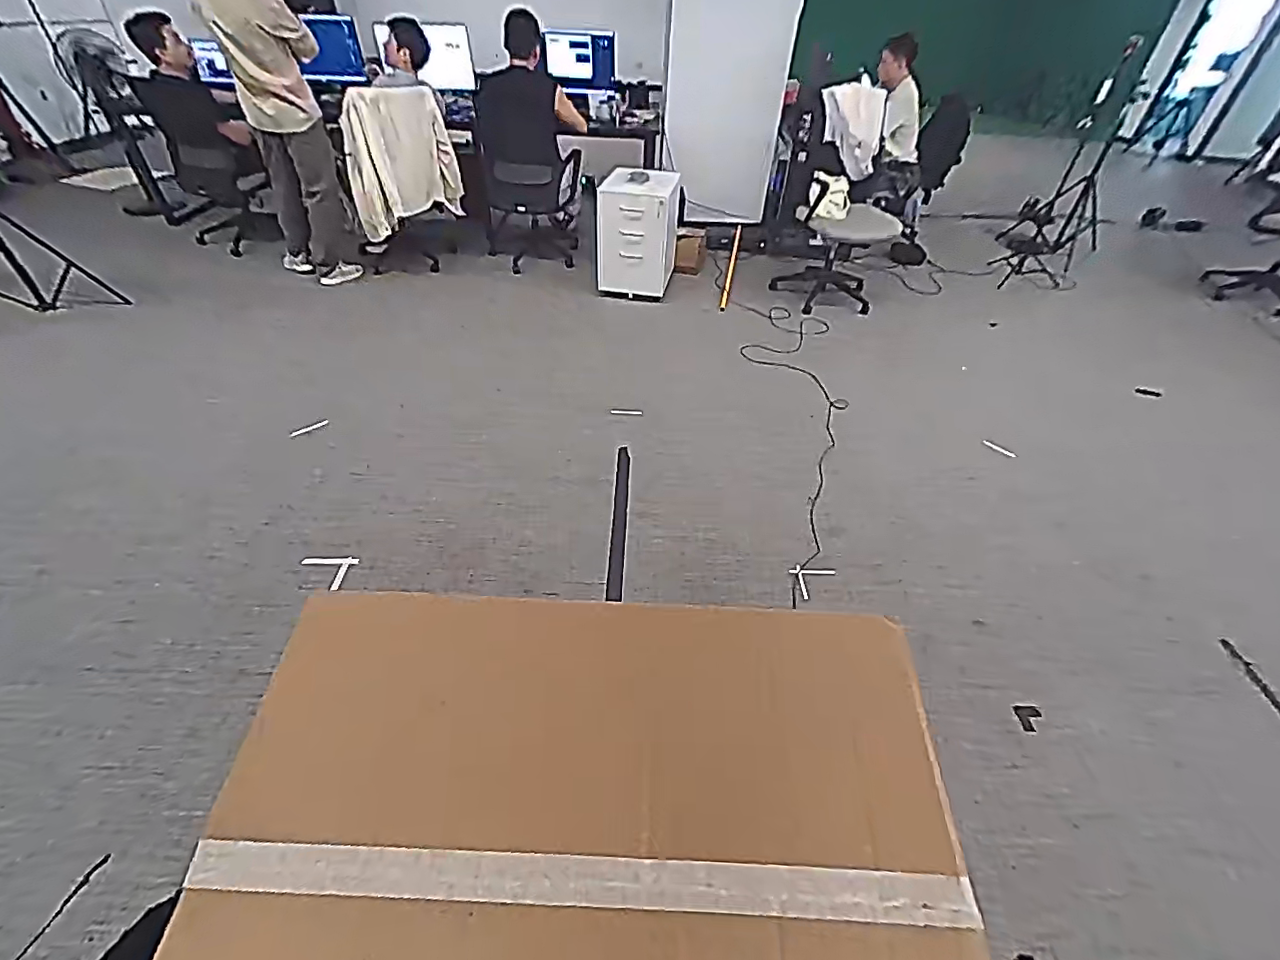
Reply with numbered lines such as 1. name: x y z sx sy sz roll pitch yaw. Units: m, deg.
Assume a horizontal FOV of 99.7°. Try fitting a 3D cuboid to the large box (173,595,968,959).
1. large box: -0.034 0.300 0.411 0.408 0.320 0.320 2 54 1
